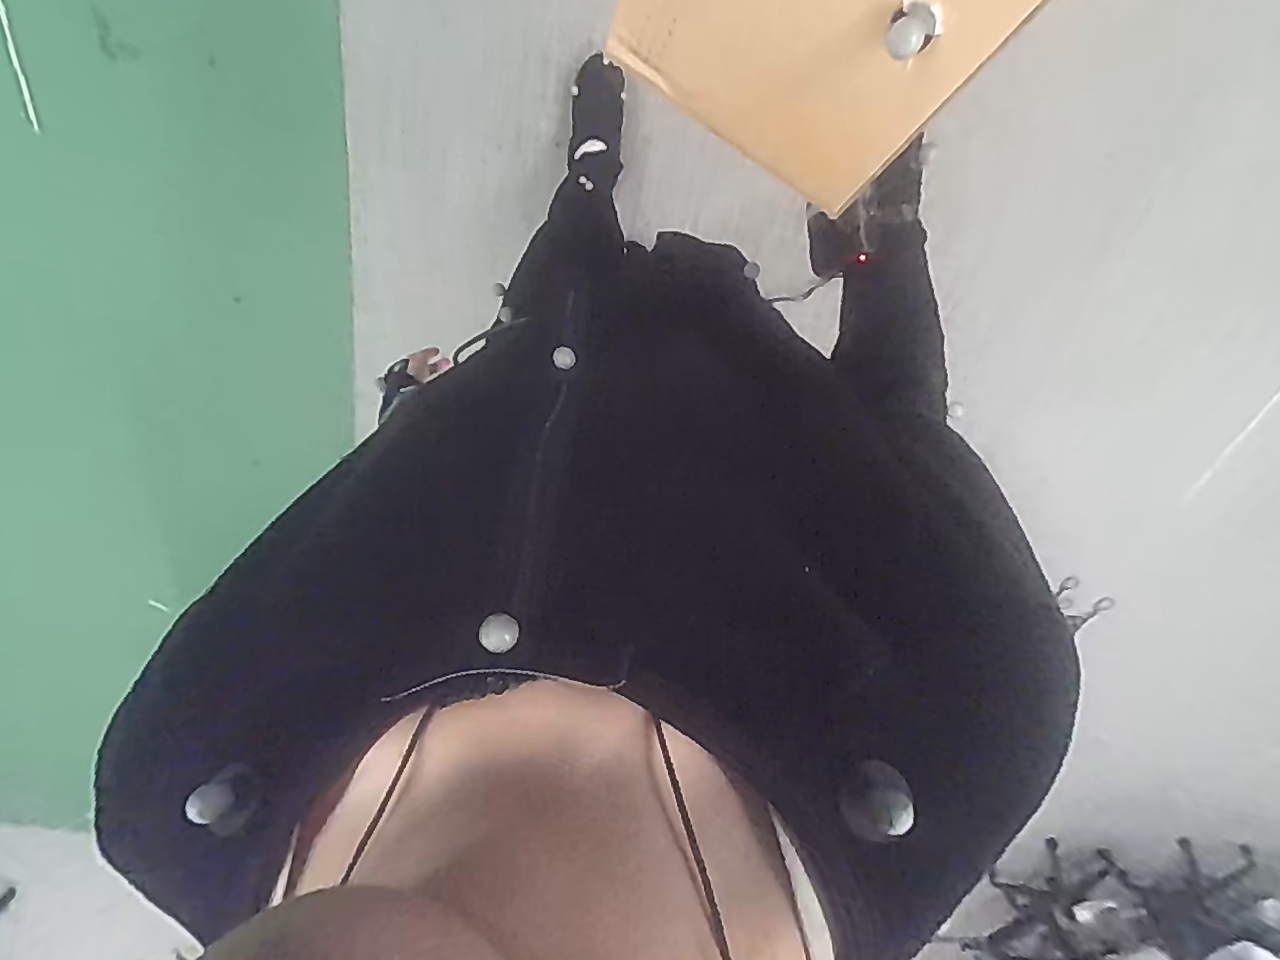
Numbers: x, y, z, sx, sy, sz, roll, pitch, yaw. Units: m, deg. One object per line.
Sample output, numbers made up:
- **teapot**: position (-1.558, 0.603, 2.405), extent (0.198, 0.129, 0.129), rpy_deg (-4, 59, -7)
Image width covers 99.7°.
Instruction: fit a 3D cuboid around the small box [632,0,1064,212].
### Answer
- **small box**: position (0.112, -0.289, 0.268), extent (0.176, 0.168, 0.179), rpy_deg (27, 156, -12)
